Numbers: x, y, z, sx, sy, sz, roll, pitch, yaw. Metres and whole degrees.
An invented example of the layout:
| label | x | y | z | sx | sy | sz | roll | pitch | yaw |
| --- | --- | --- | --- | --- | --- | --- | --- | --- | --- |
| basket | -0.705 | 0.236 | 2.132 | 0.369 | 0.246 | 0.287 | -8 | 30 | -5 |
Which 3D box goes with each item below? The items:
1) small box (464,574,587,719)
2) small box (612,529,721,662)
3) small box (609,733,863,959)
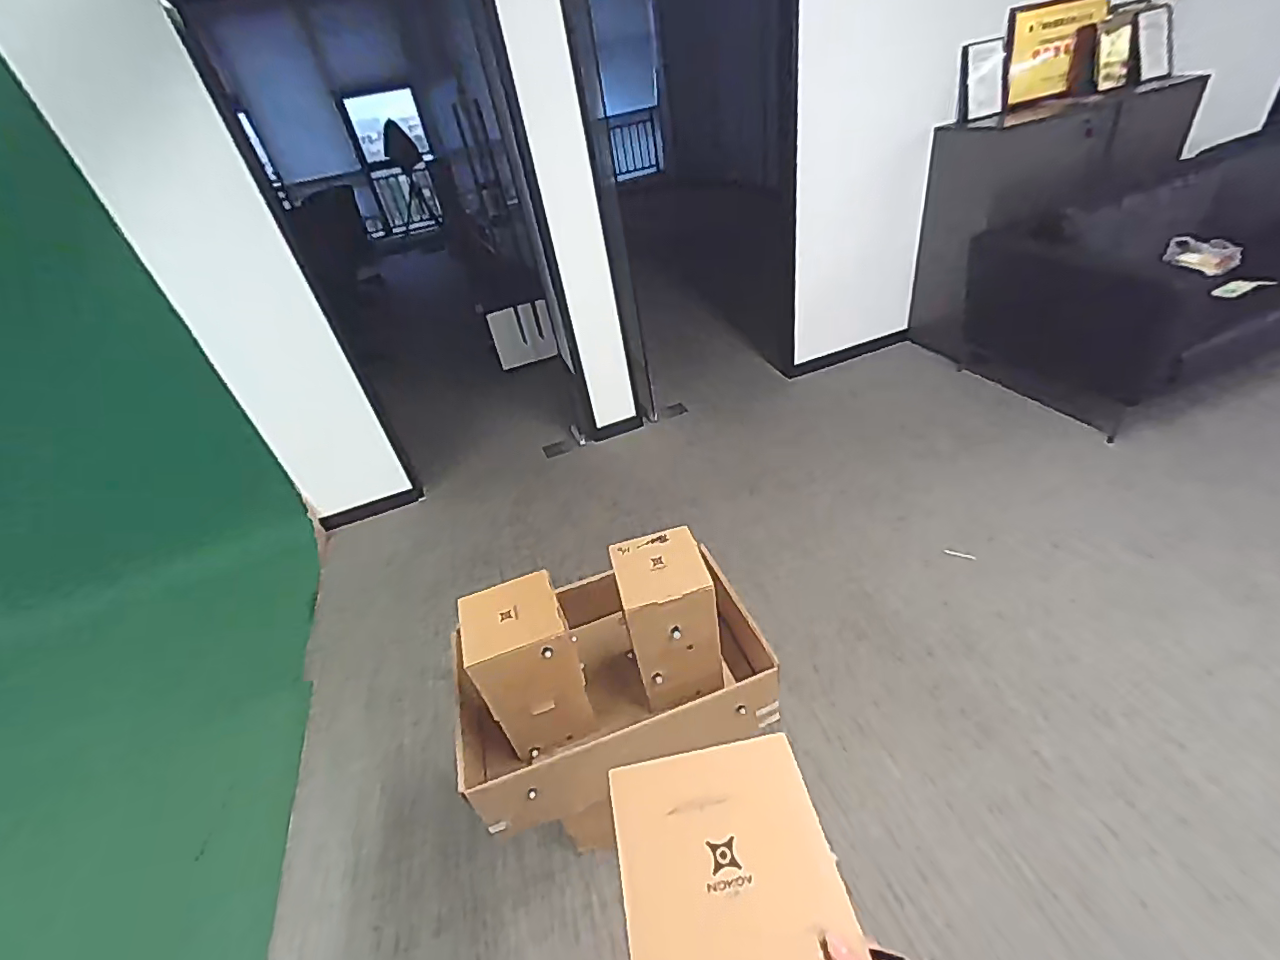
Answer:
| label | x | y | z | sx | sy | sz | roll | pitch | yaw |
| --- | --- | --- | --- | --- | --- | --- | --- | --- | --- |
| small box | -0.215 | 0.315 | 1.020 | 0.179 | 0.176 | 0.168 | -18 | 36 | -10 |
| small box | 0.053 | 0.230 | 1.054 | 0.168 | 0.176 | 0.179 | -15 | 37 | -4 |
| small box | 0.072 | 0.359 | 0.474 | 0.168 | 0.176 | 0.179 | -10 | 39 | -4 |
